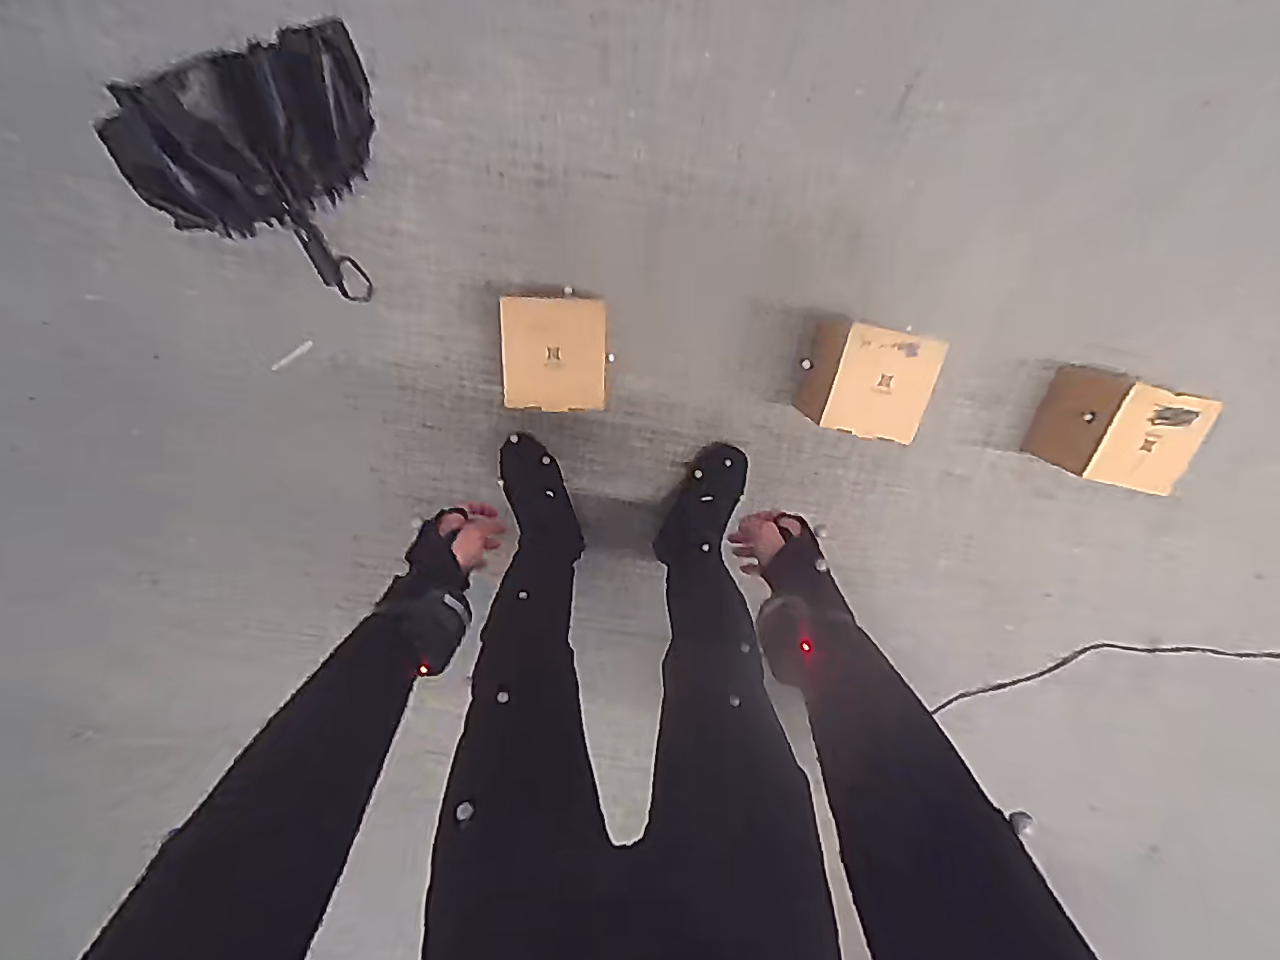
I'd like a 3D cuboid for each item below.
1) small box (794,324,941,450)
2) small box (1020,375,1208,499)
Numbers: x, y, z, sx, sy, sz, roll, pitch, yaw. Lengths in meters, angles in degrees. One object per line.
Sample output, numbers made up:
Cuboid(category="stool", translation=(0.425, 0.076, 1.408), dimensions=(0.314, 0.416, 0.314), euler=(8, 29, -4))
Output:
Cuboid(category="small box", translation=(0.392, -0.174, 0.973), dimensions=(0.168, 0.176, 0.179), euler=(11, 109, -5))
Cuboid(category="small box", translation=(0.860, -0.088, 1.005), dimensions=(0.168, 0.176, 0.179), euler=(12, 110, -4))
